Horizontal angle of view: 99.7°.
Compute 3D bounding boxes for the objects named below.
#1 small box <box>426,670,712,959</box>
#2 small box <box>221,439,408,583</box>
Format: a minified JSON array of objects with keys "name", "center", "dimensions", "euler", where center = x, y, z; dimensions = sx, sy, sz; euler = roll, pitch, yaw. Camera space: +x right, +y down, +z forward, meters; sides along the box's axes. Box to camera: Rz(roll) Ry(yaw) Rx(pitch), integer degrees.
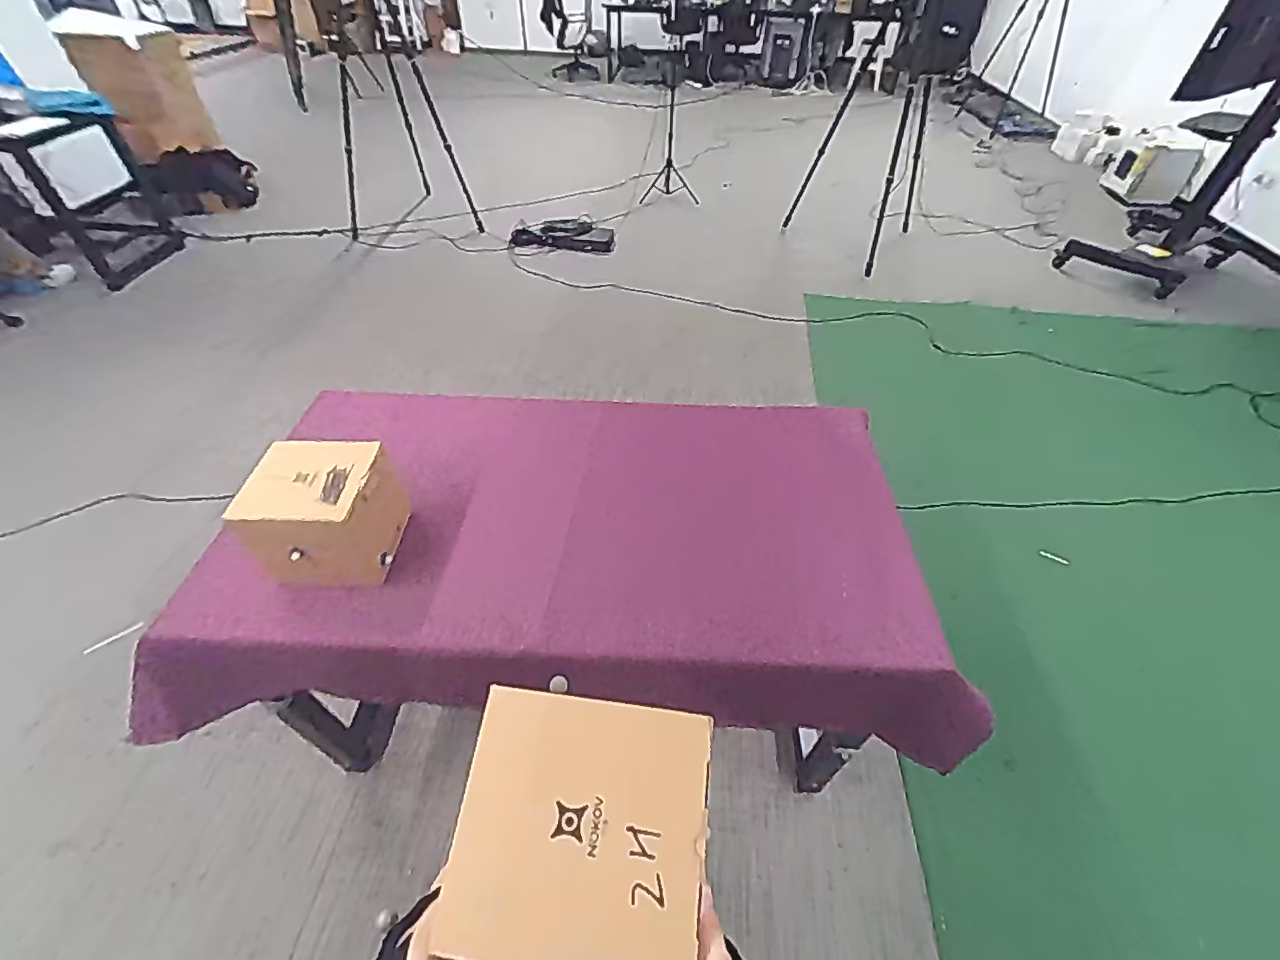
[{"name":"small box","center":[-0.041,0.269,0.452],"dimensions":[0.179,0.176,0.168],"euler":[7,63,5]},{"name":"small box","center":[-0.498,0.052,0.865],"dimensions":[0.179,0.176,0.168],"euler":[0,46,0]}]
